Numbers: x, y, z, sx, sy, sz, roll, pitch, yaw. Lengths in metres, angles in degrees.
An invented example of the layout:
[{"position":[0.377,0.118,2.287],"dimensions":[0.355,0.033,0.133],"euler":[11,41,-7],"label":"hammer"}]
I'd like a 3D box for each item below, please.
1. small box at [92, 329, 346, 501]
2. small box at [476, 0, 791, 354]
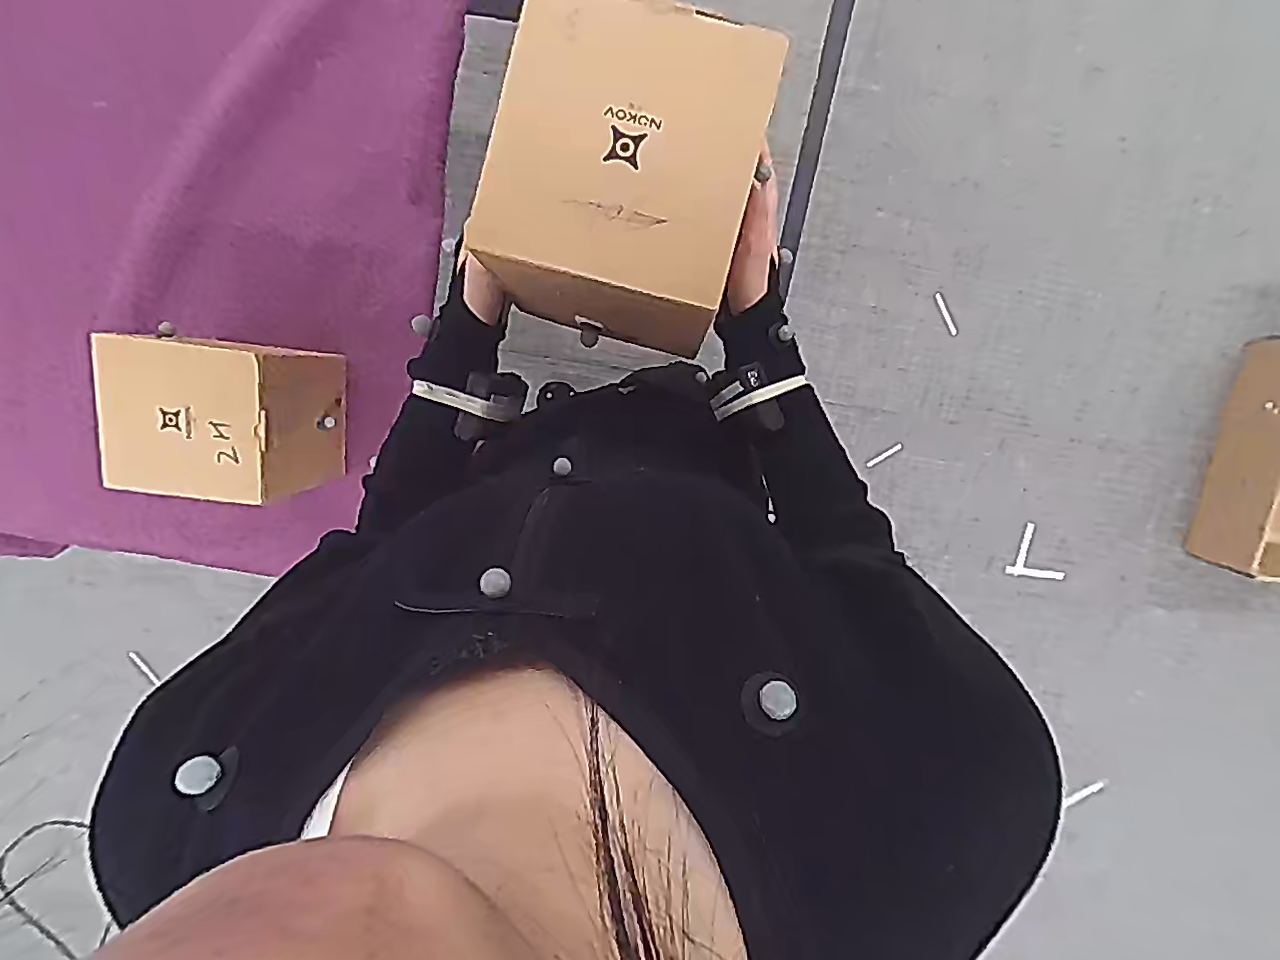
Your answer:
[{"position":[-0.488,-0.082,0.651],"dimensions":[0.179,0.176,0.168],"euler":[7,102,-2],"label":"small box"},{"position":[-0.004,-0.214,0.418],"dimensions":[0.168,0.176,0.179],"euler":[15,93,1],"label":"small box"}]
